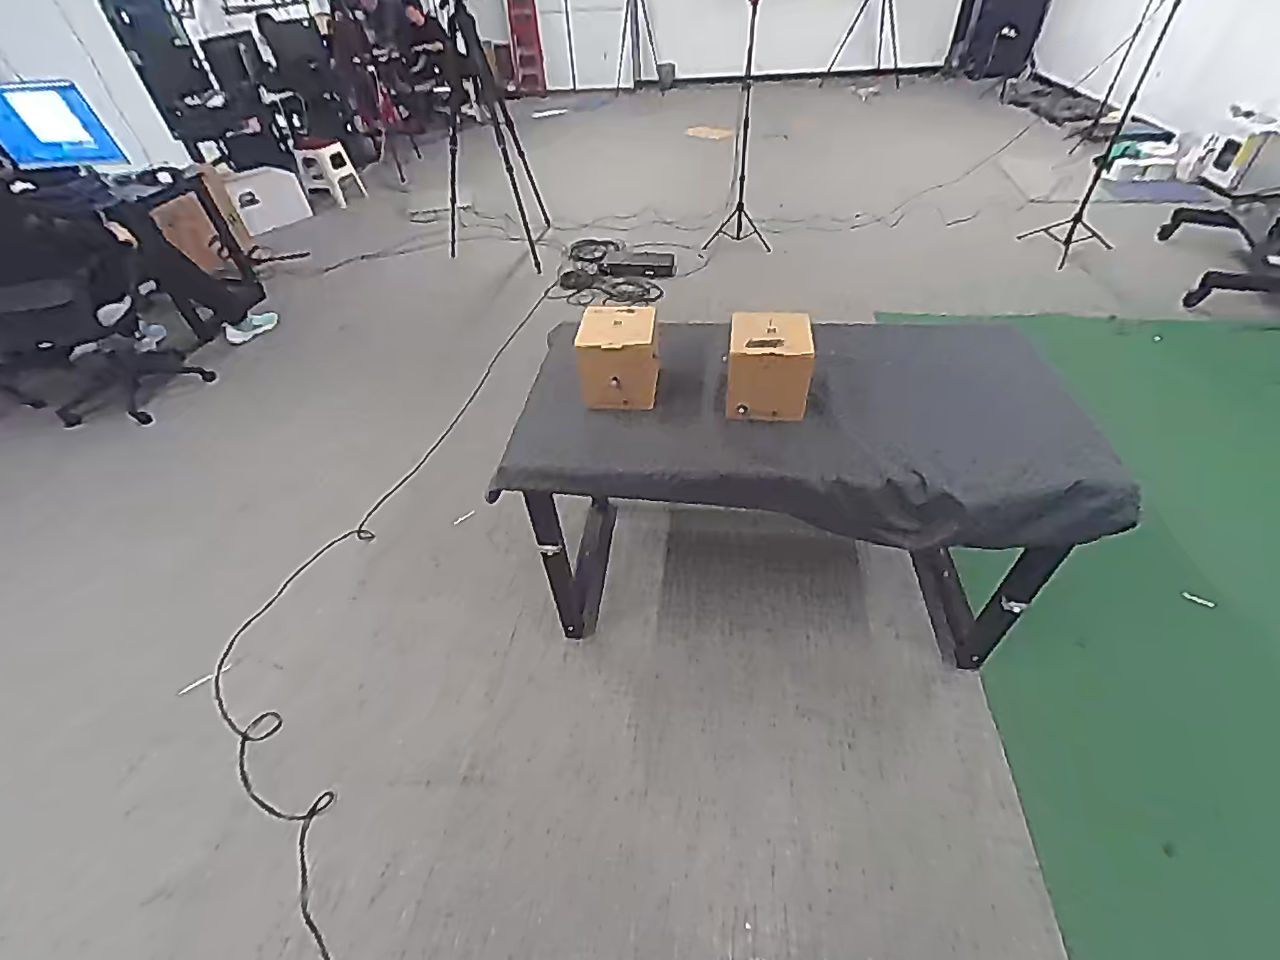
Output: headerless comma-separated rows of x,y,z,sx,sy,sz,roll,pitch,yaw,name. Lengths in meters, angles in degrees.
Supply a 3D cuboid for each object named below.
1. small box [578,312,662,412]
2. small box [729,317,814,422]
-0.038,-0.272,1.255,0.168,0.176,0.179,1,45,7,small box
0.286,-0.242,1.192,0.168,0.176,0.179,3,43,9,small box
